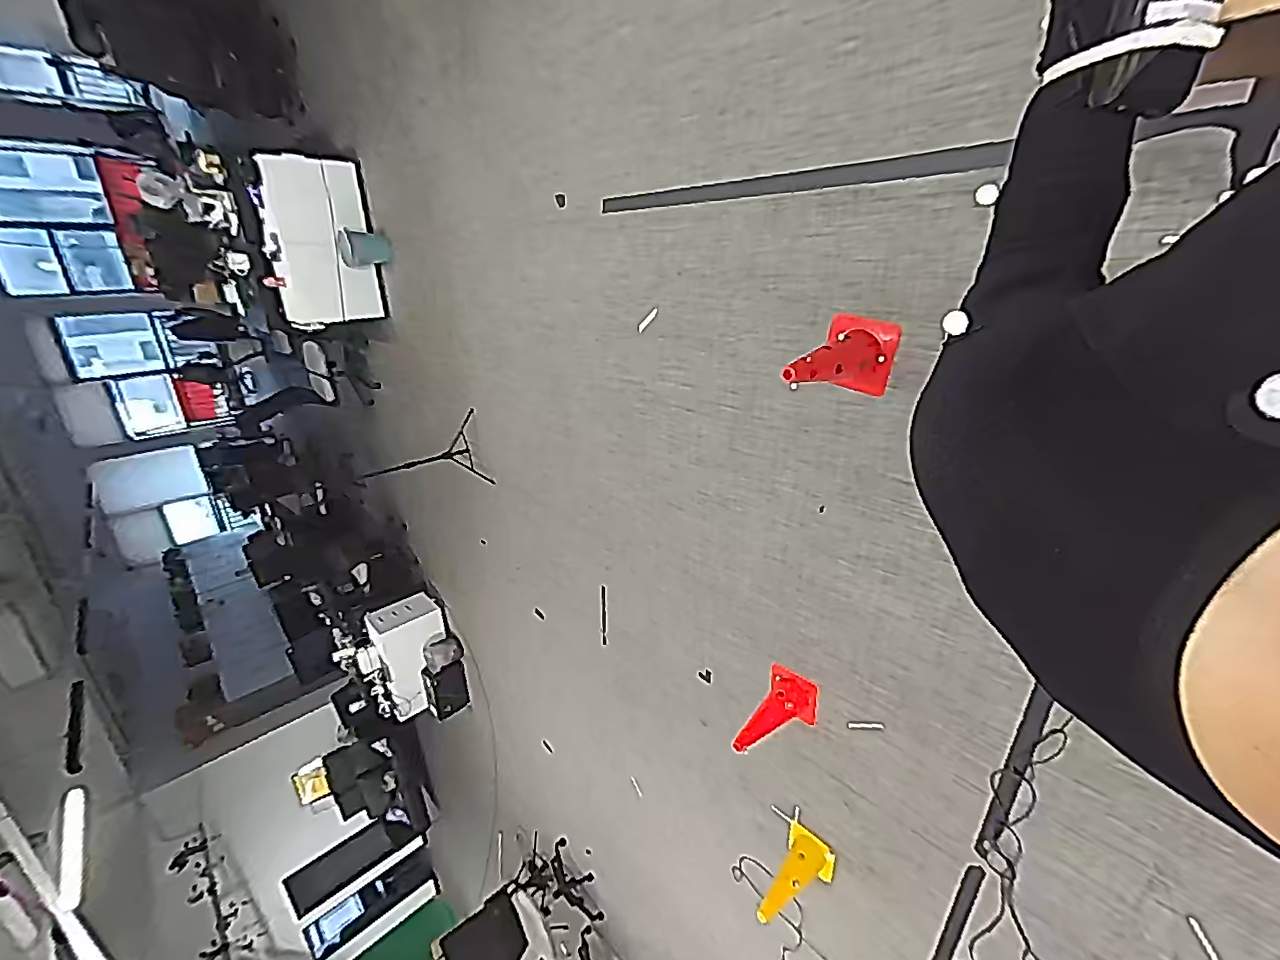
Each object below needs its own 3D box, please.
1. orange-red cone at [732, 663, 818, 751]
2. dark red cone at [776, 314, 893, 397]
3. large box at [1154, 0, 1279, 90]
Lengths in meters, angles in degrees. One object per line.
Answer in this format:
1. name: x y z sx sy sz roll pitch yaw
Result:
1. orange-red cone: 0.463 0.866 1.967 0.198 0.360 0.199 20 122 45
2. dark red cone: 0.474 -0.304 1.399 0.201 0.394 0.202 27 126 39
3. large box: 0.570 -0.439 0.262 0.408 0.320 0.320 19 123 42
